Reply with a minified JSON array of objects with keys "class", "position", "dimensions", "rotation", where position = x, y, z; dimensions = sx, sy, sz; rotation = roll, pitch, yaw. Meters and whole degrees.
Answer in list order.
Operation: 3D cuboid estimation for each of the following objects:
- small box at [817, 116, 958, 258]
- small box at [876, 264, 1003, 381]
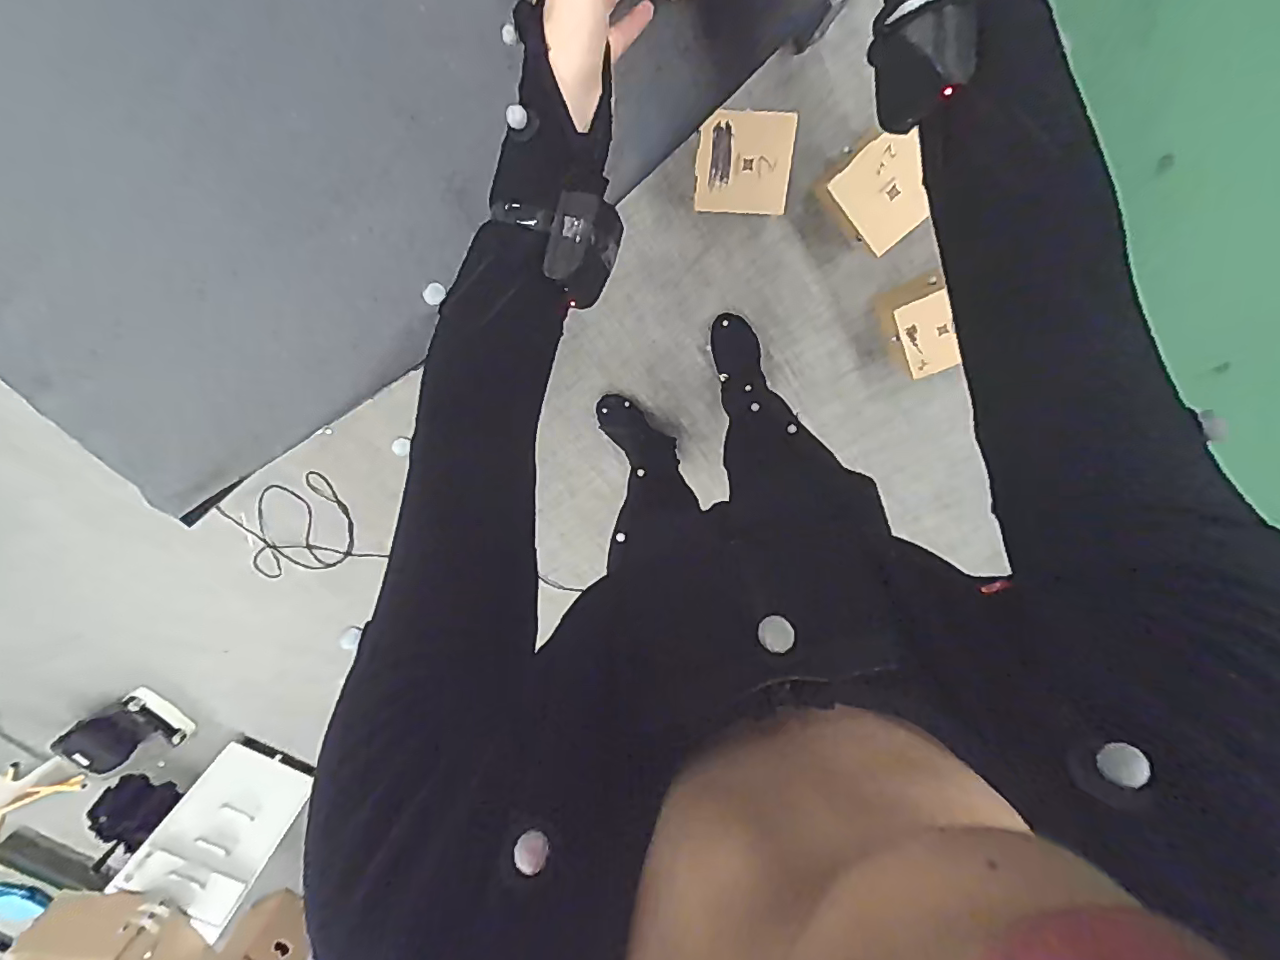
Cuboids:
[{"class":"small box","position":[0.474,-0.570,1.061],"dimensions":[0.168,0.176,0.179],"rotation":[-39,107,23]},{"class":"small box","position":[0.636,-0.343,1.162],"dimensions":[0.179,0.176,0.168],"rotation":[-22,114,18]}]
